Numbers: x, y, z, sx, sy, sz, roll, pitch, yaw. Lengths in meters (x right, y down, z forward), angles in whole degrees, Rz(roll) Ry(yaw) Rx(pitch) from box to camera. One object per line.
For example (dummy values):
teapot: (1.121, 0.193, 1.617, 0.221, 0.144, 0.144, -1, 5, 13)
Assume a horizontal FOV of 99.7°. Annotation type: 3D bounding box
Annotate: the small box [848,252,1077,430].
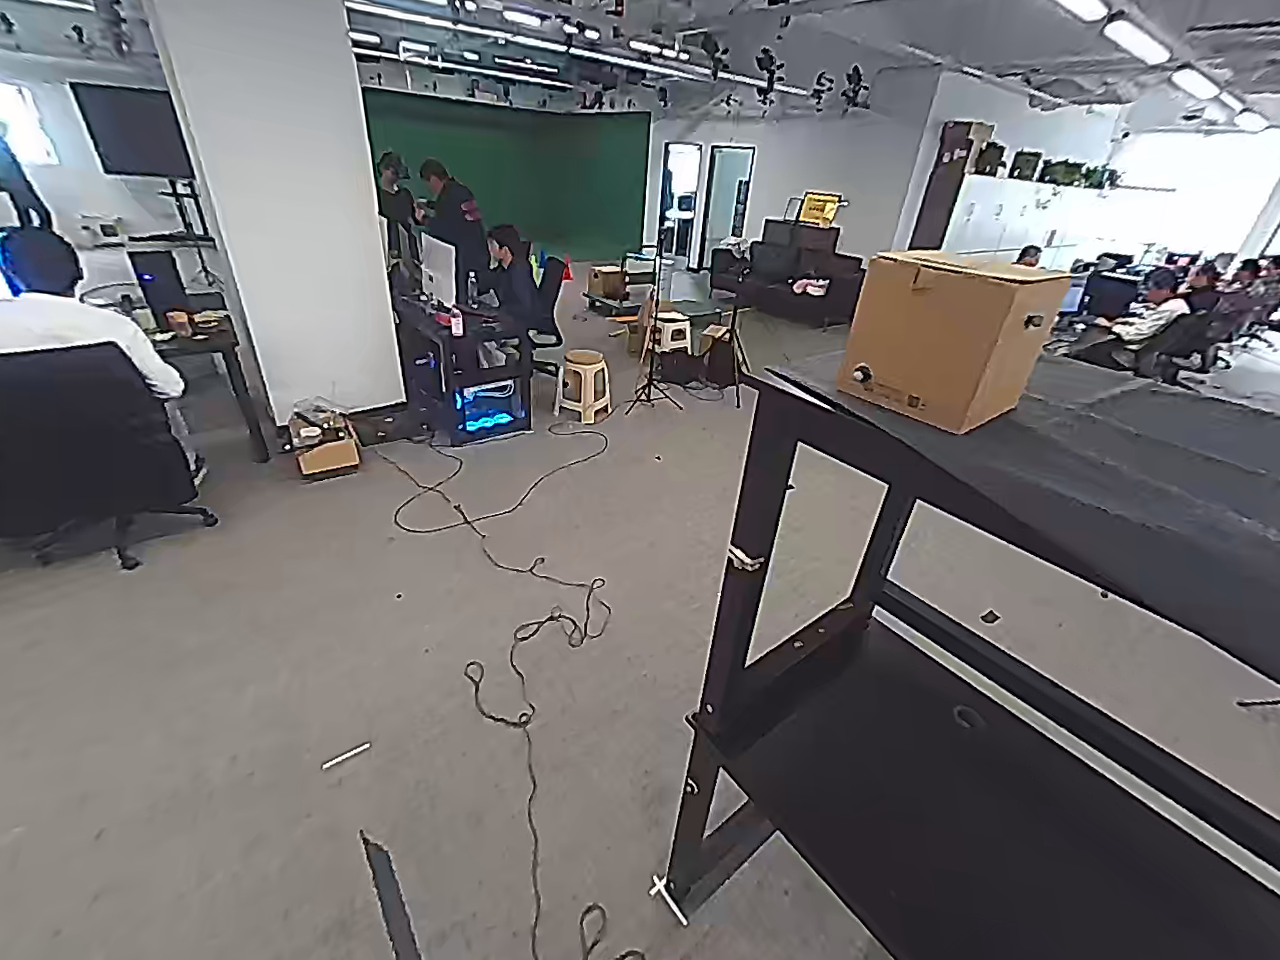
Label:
small box: (0.381, -0.175, 0.664, 0.179, 0.176, 0.168, -19, 38, -35)
